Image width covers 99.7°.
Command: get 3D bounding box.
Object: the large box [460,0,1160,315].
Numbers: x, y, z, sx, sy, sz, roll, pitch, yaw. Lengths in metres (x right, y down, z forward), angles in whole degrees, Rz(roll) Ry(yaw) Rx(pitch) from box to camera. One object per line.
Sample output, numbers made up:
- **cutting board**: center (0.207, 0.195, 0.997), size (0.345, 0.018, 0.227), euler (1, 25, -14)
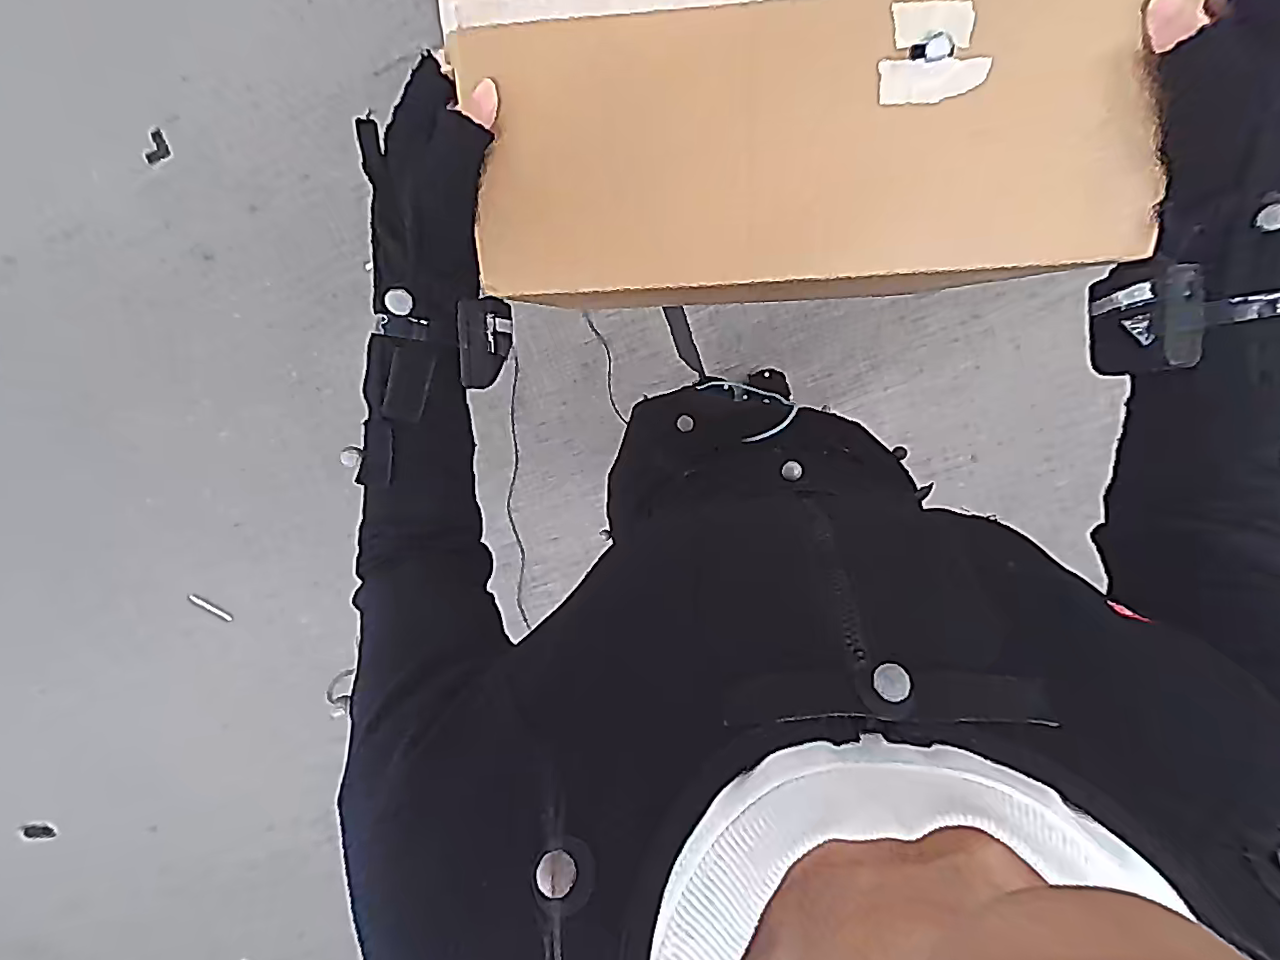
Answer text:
- **large box**: center (0.097, -0.320, 0.454), size (0.408, 0.320, 0.320), euler (-3, 106, 4)
